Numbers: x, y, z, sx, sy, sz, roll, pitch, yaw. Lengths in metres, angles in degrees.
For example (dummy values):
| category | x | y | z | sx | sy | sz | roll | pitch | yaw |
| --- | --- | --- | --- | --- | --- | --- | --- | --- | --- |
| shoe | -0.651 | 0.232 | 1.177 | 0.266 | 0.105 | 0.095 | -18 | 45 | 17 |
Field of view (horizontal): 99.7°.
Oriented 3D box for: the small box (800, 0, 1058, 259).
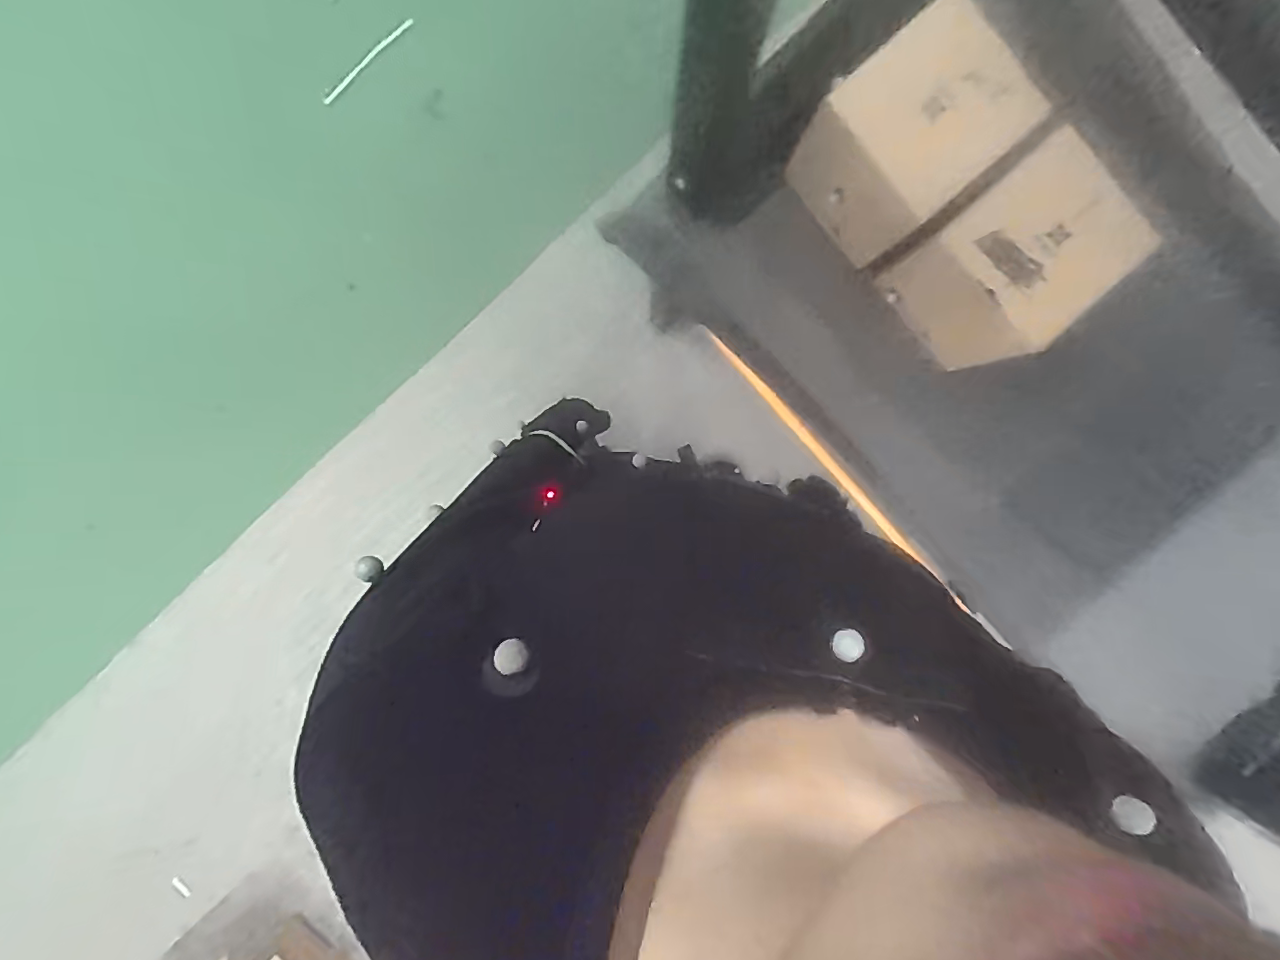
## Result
| category | x | y | z | sx | sy | sz | roll | pitch | yaw |
| --- | --- | --- | --- | --- | --- | --- | --- | --- | --- |
| small box | 0.309 | -0.392 | 0.626 | 0.179 | 0.176 | 0.168 | -40 | 95 | 3 |
